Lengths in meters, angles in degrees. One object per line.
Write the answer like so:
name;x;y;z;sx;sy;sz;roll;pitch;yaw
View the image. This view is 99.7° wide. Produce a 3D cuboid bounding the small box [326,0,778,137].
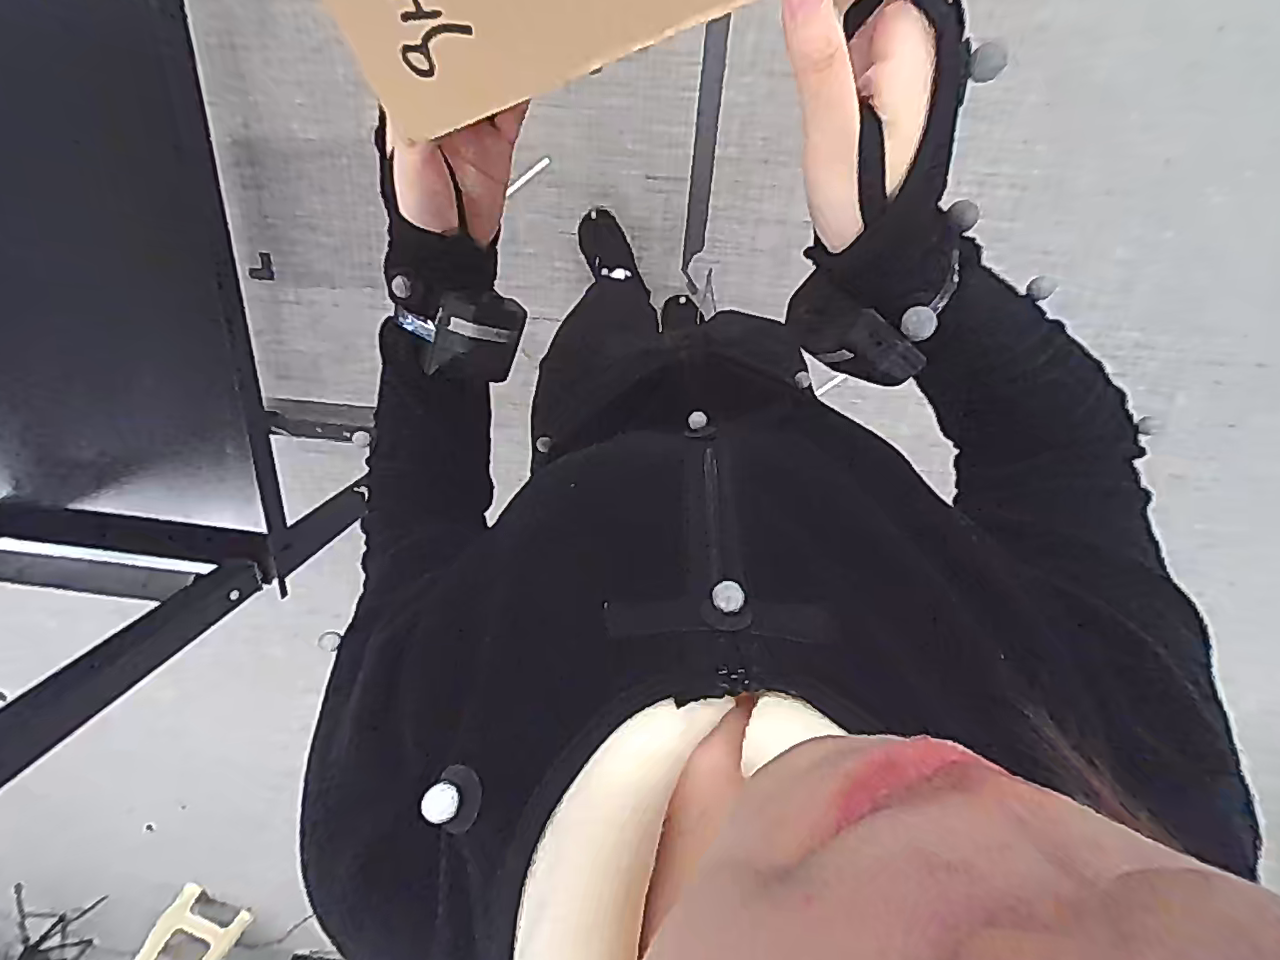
small box;-0.042;-0.254;0.187;0.179;0.176;0.168;-20;133;2
